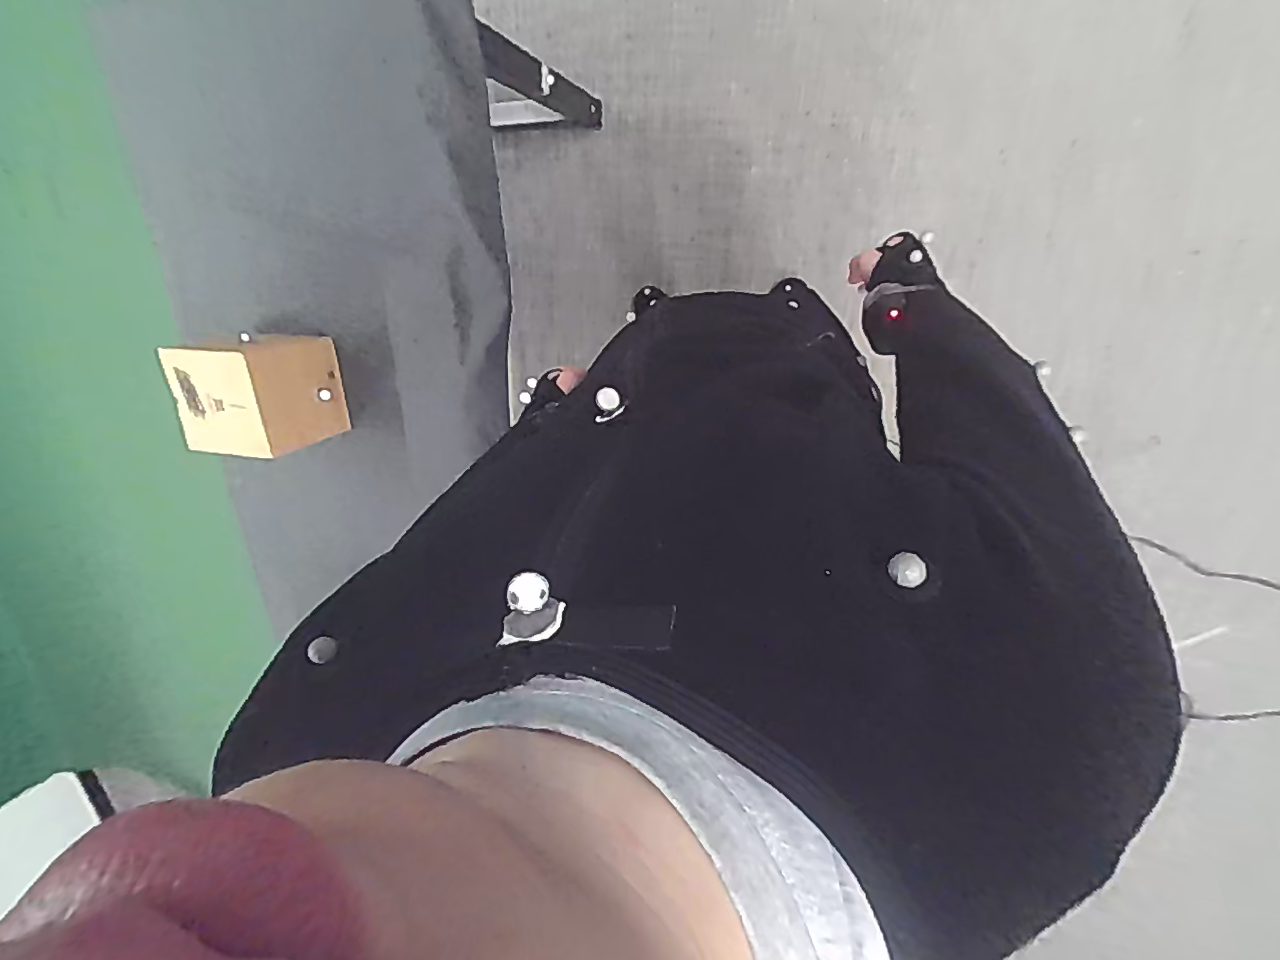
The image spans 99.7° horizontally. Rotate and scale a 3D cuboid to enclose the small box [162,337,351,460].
[{"bbox_3d":[-0.630,-0.145,0.909,0.179,0.176,0.168,6,113,14],"label":"small box"}]
